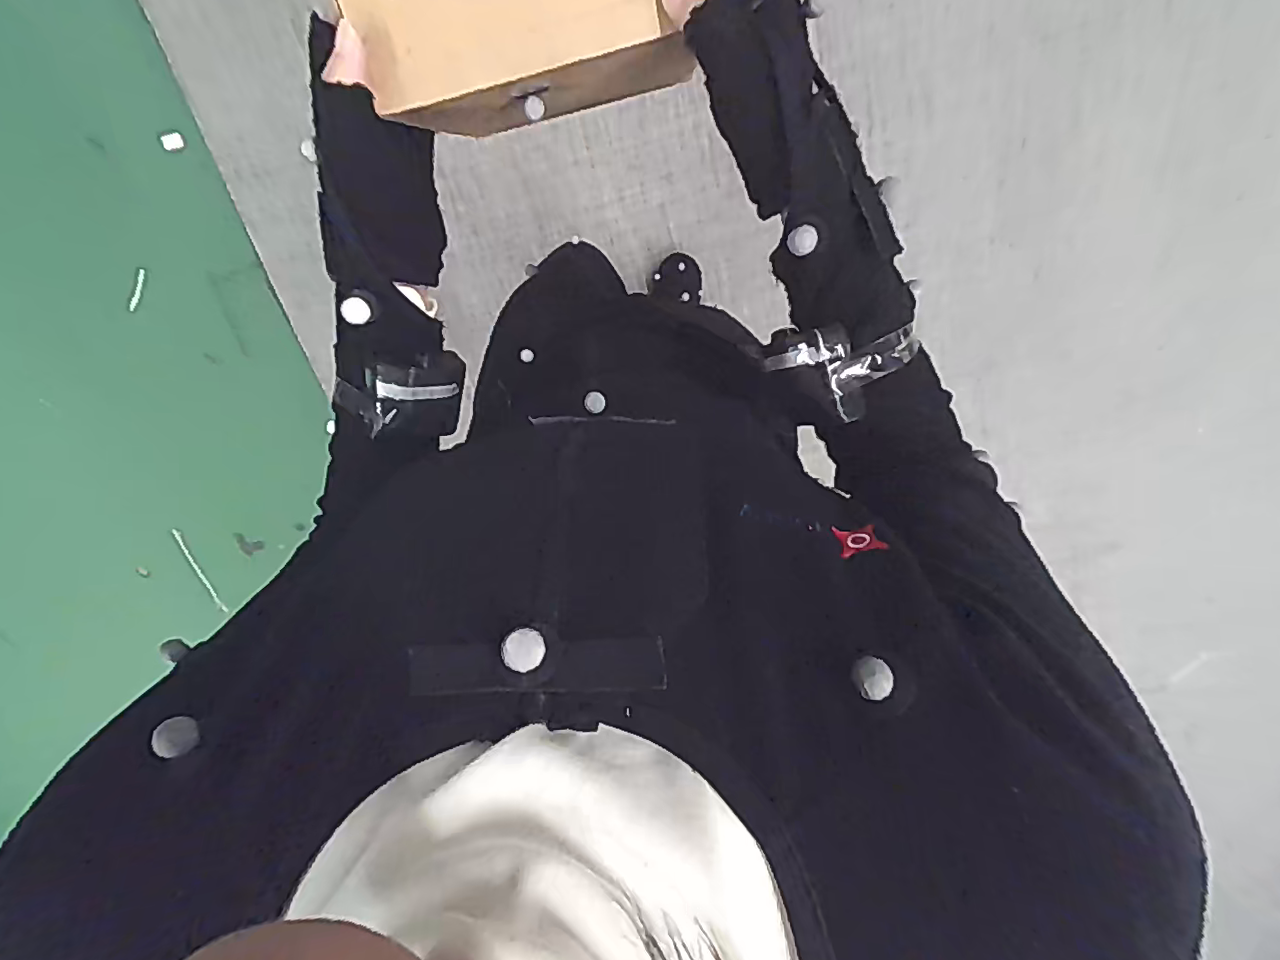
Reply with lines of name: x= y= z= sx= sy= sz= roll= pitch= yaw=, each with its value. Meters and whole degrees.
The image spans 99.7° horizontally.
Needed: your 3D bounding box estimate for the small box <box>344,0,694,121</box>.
small box: x=-0.067 y=-0.323 z=0.308 sx=0.179 sy=0.176 sz=0.168 roll=-10 pitch=119 yaw=8
